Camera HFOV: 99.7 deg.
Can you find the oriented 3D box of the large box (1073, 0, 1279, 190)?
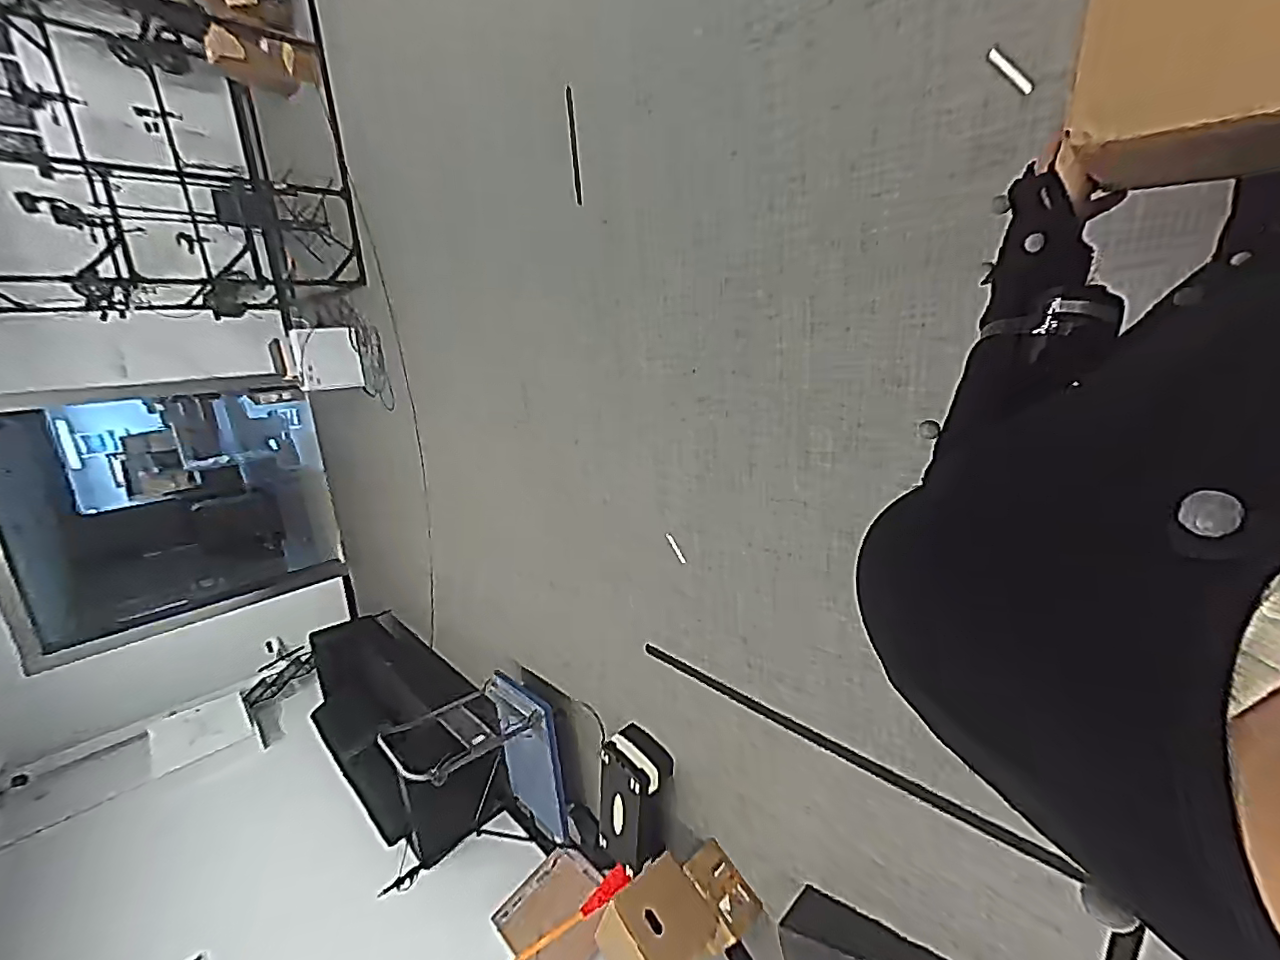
[{"bbox_3d":[0.439,-0.325,0.196,0.408,0.320,0.320,11,115,39],"label":"large box"}]
